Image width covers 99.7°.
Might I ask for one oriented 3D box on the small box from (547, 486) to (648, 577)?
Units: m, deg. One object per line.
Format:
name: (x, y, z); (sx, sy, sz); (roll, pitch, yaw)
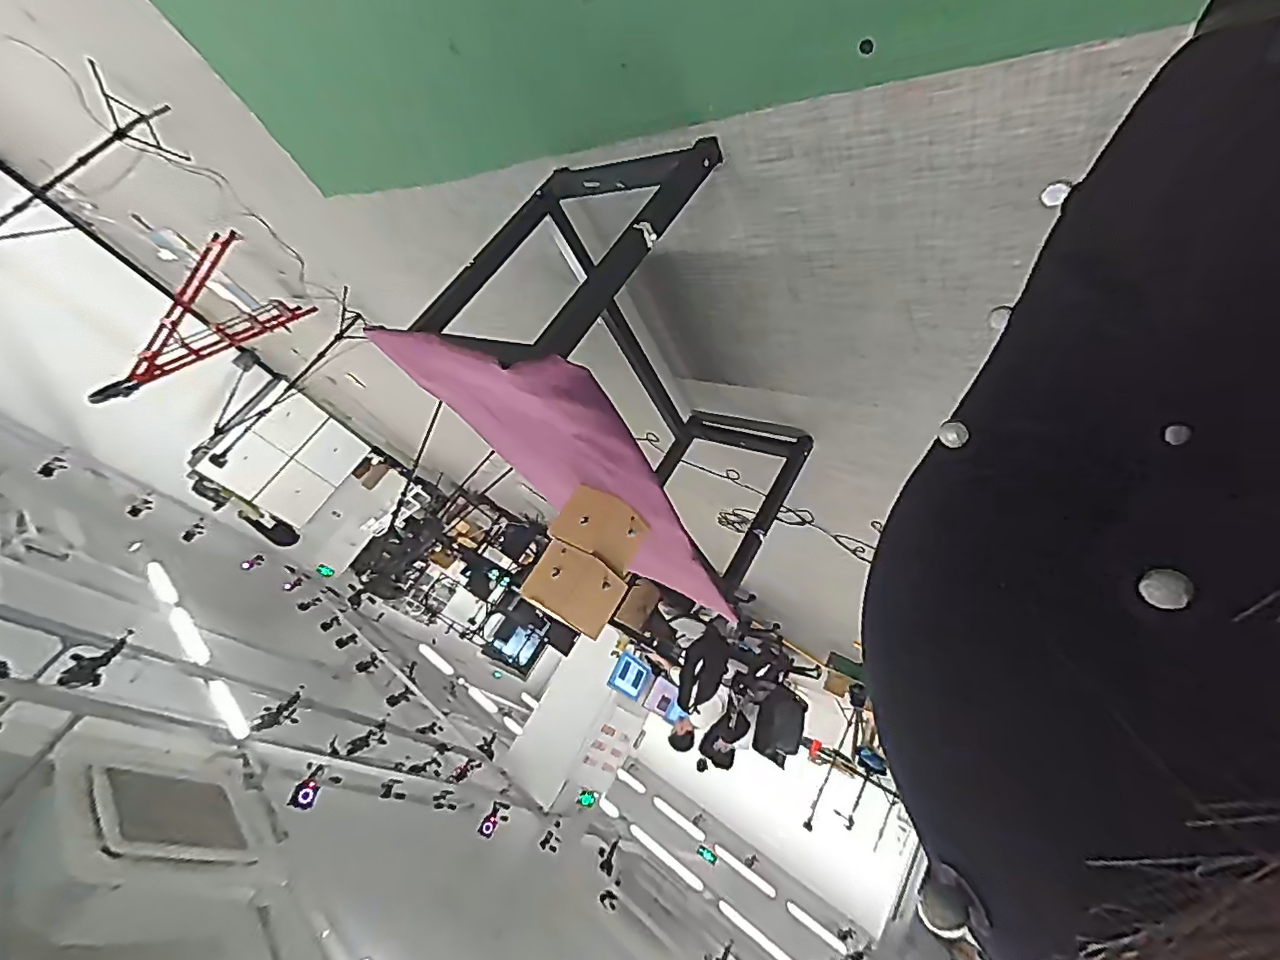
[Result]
small box: (-0.110, 0.137, 1.454); (0.179, 0.176, 0.168); (18, 157, 38)

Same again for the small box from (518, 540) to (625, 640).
small box: (-0.171, 0.278, 1.391); (0.168, 0.176, 0.179); (16, 155, 40)
